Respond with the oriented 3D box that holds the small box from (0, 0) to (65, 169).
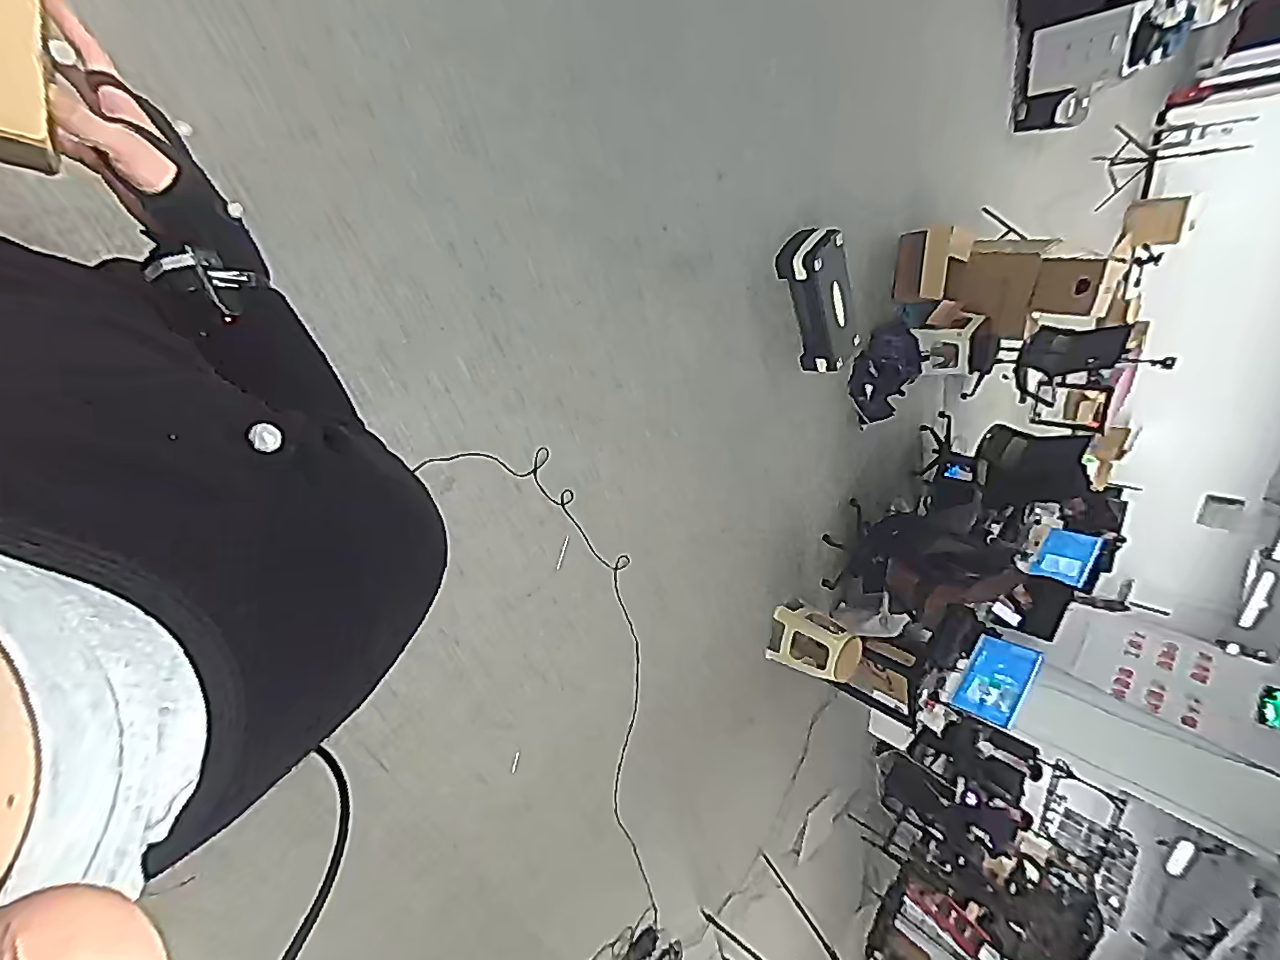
[{"bbox_3d":[-0.461,-0.305,0.316,0.168,0.176,0.179,-3,109,-46],"label":"small box"}]
